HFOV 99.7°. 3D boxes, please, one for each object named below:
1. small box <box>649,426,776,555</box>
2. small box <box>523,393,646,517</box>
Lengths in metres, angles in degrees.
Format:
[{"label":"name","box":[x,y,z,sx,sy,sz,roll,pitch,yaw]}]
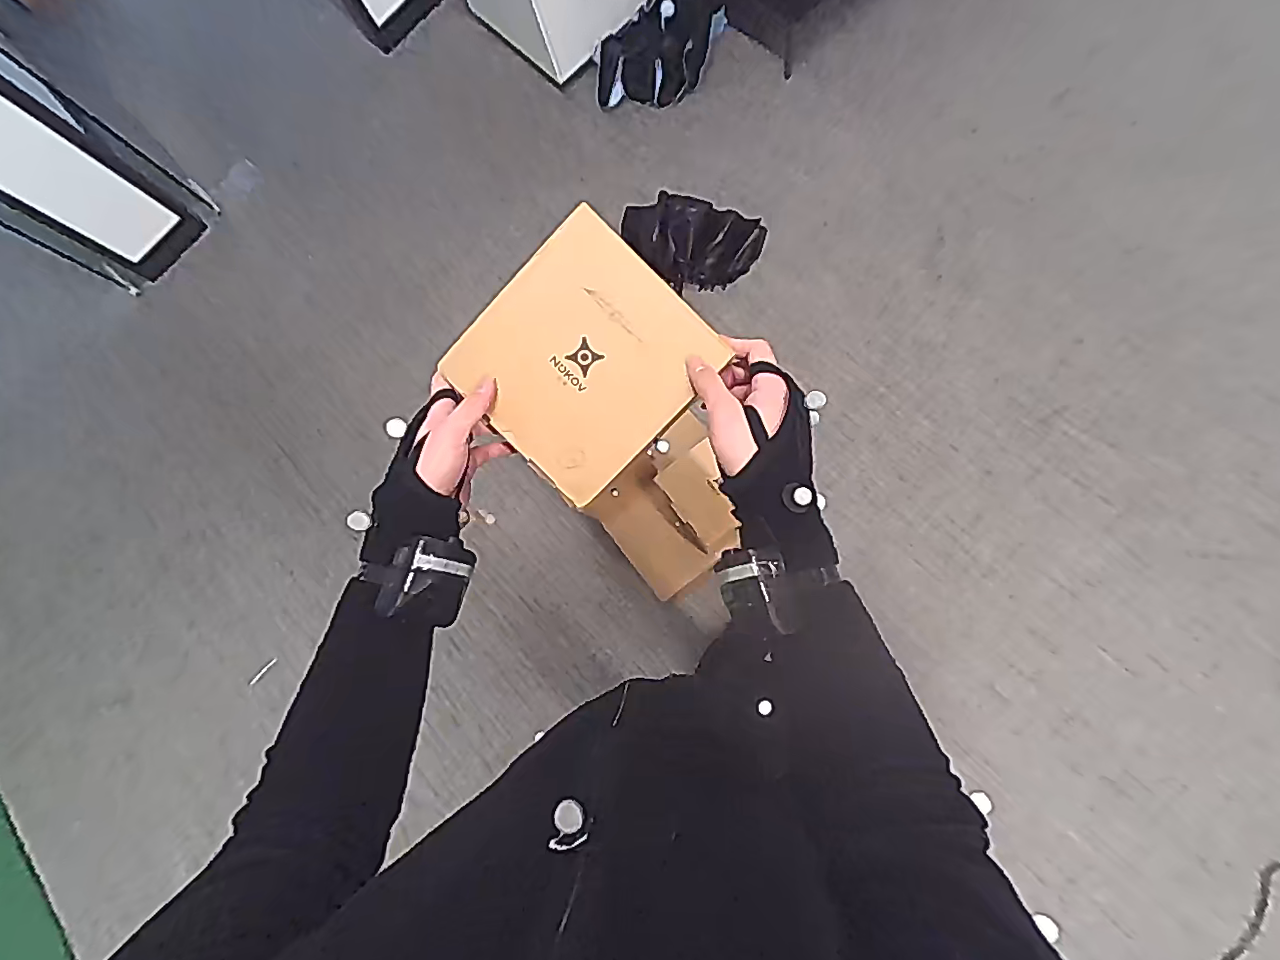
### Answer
[{"label":"small box","box":[0.143,0.030,1.055,0.179,0.176,0.168,-37,73,-2]},{"label":"small box","box":[-0.102,-0.043,1.112,0.179,0.176,0.168,-38,74,2]}]
